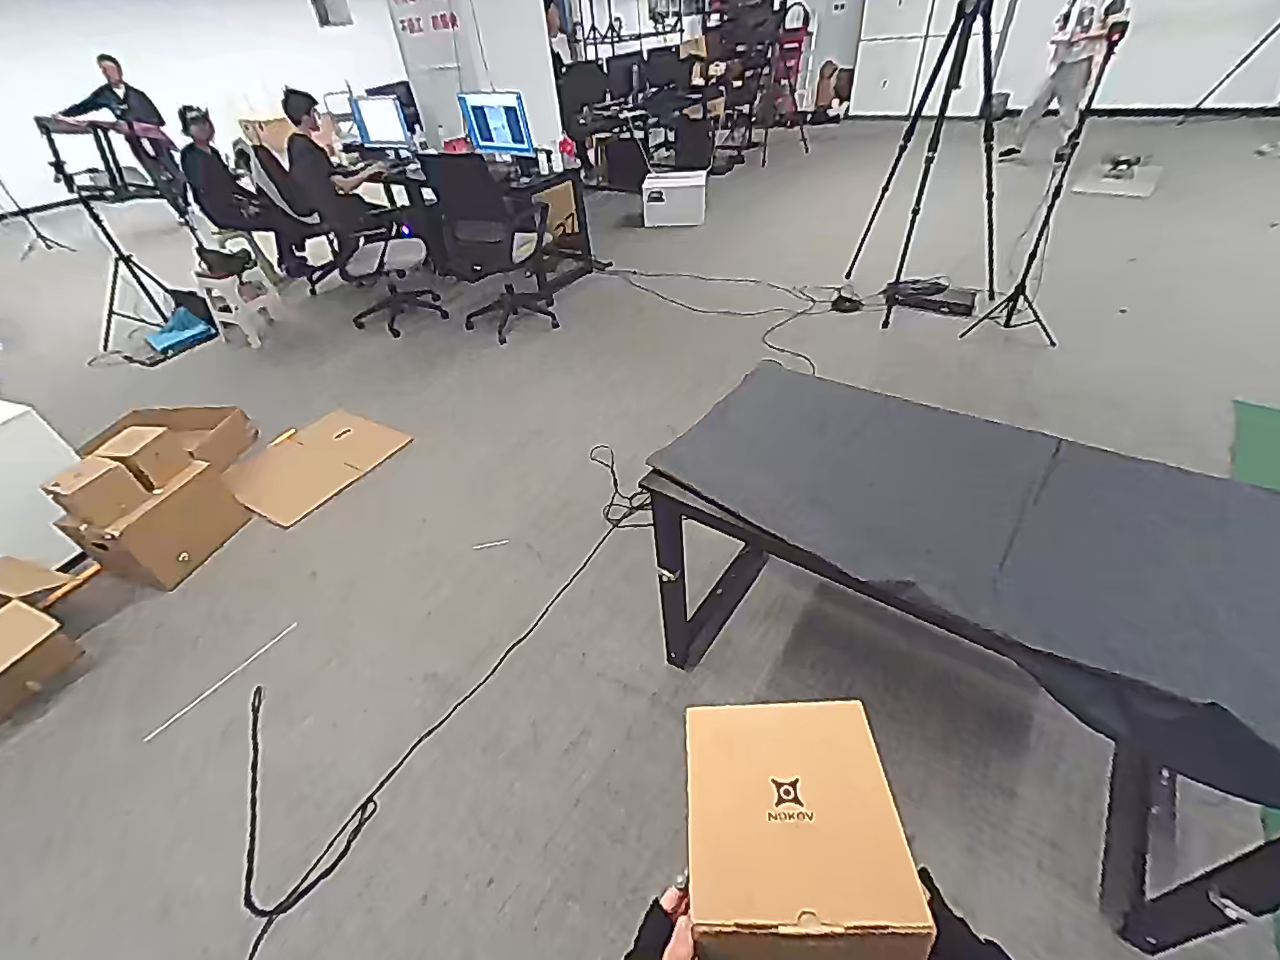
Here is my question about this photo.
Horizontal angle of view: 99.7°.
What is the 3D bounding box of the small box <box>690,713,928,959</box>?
[{"bbox_3d":[0.133,0.341,0.492,0.168,0.176,0.179,-5,33,6],"label":"small box"}]
